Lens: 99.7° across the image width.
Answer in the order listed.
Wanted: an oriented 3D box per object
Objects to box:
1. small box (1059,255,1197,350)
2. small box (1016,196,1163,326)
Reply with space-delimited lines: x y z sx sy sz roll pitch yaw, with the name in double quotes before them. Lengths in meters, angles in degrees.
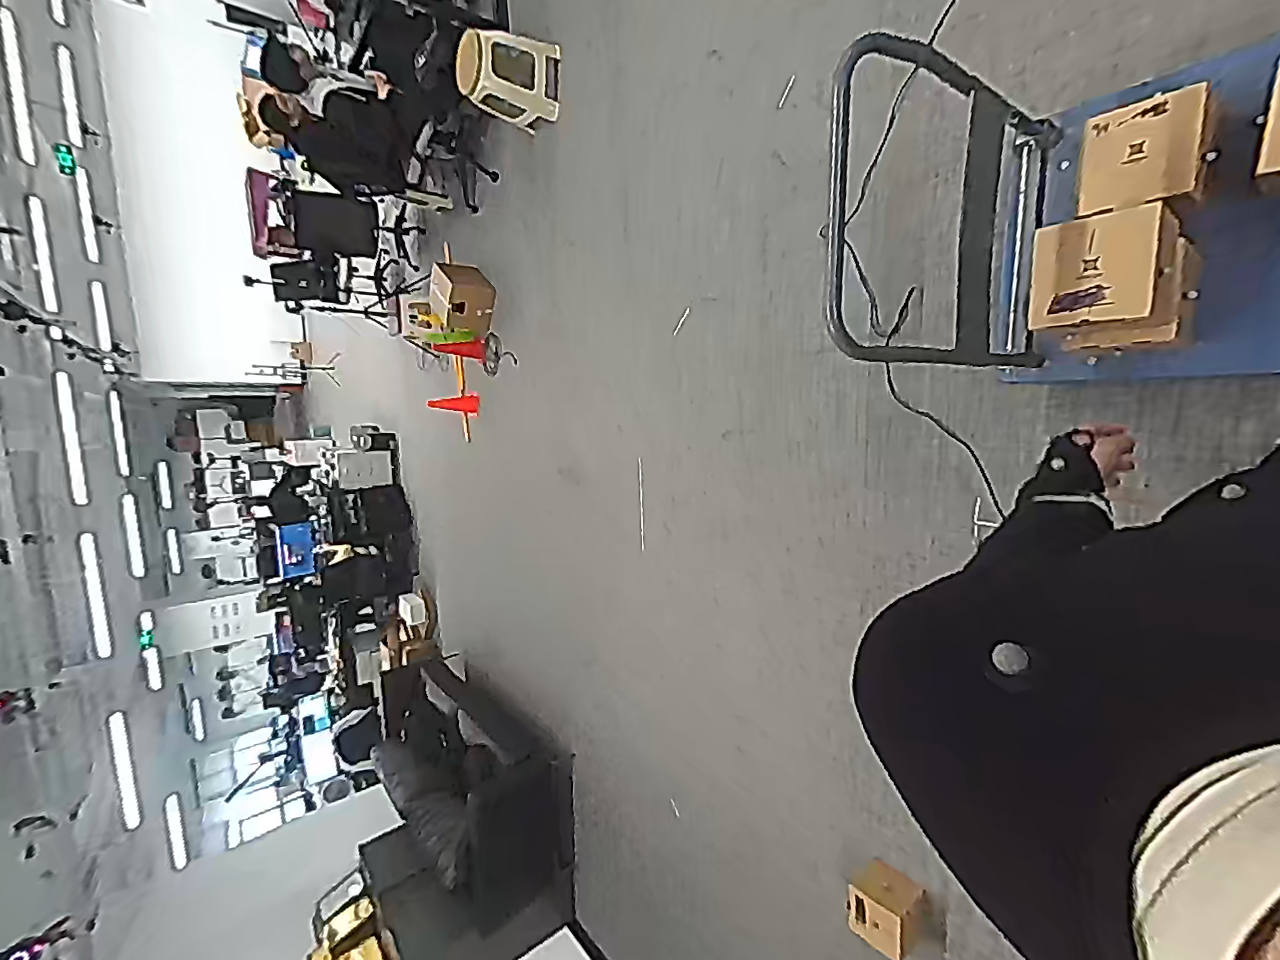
"small box" 0.926 -0.364 1.064 0.179 0.176 0.168 47 131 37
"small box" 0.792 -0.370 0.954 0.168 0.176 0.179 9 102 49
